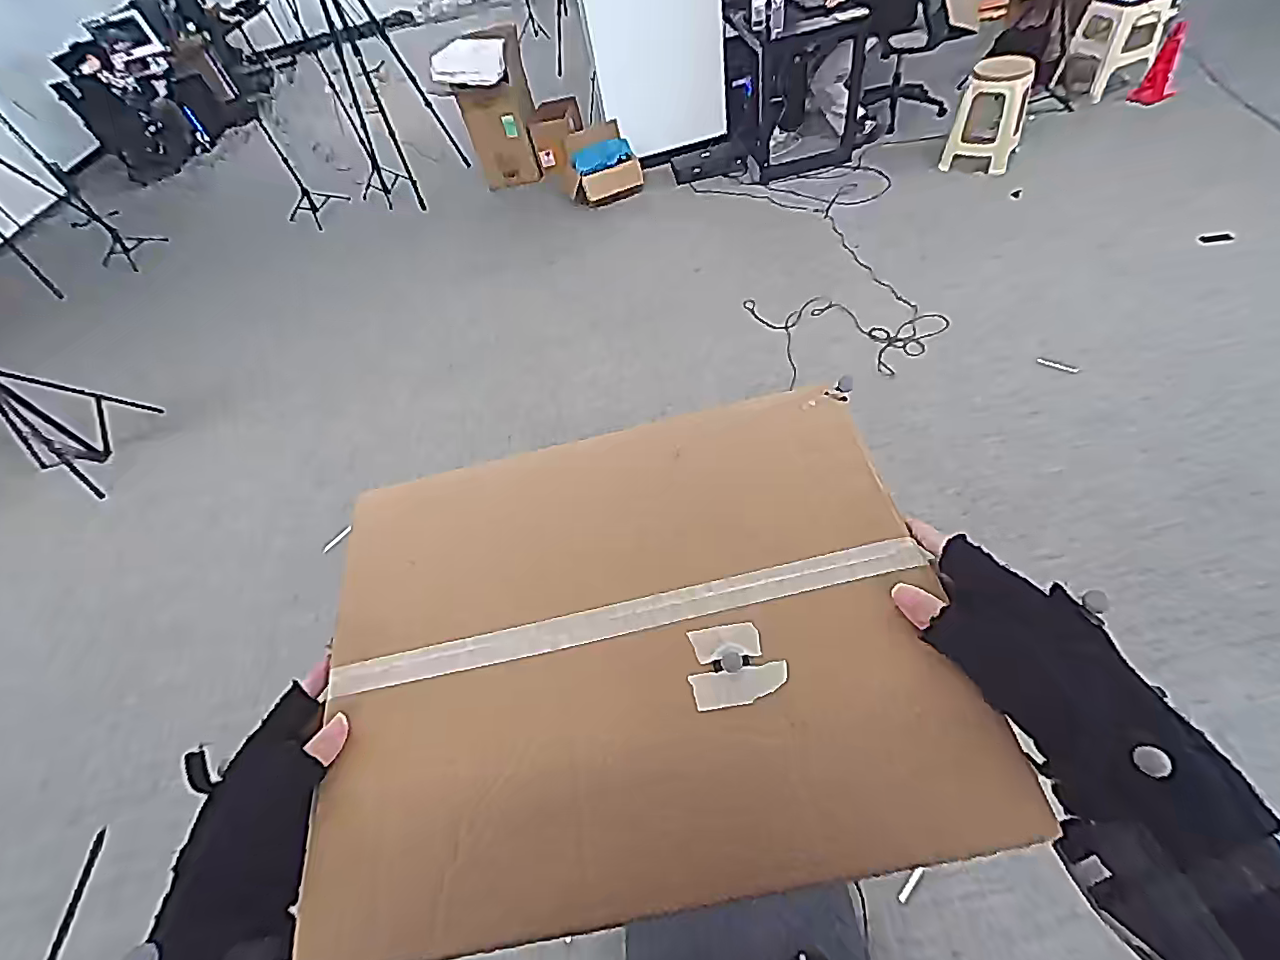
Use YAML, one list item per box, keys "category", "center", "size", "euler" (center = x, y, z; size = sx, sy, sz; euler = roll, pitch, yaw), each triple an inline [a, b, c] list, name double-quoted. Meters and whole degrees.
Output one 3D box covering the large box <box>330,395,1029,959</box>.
- category: "large box"
  center: [0.014, 0.176, 0.499]
  size: [0.408, 0.320, 0.320]
  euler: [-13, 57, 2]
